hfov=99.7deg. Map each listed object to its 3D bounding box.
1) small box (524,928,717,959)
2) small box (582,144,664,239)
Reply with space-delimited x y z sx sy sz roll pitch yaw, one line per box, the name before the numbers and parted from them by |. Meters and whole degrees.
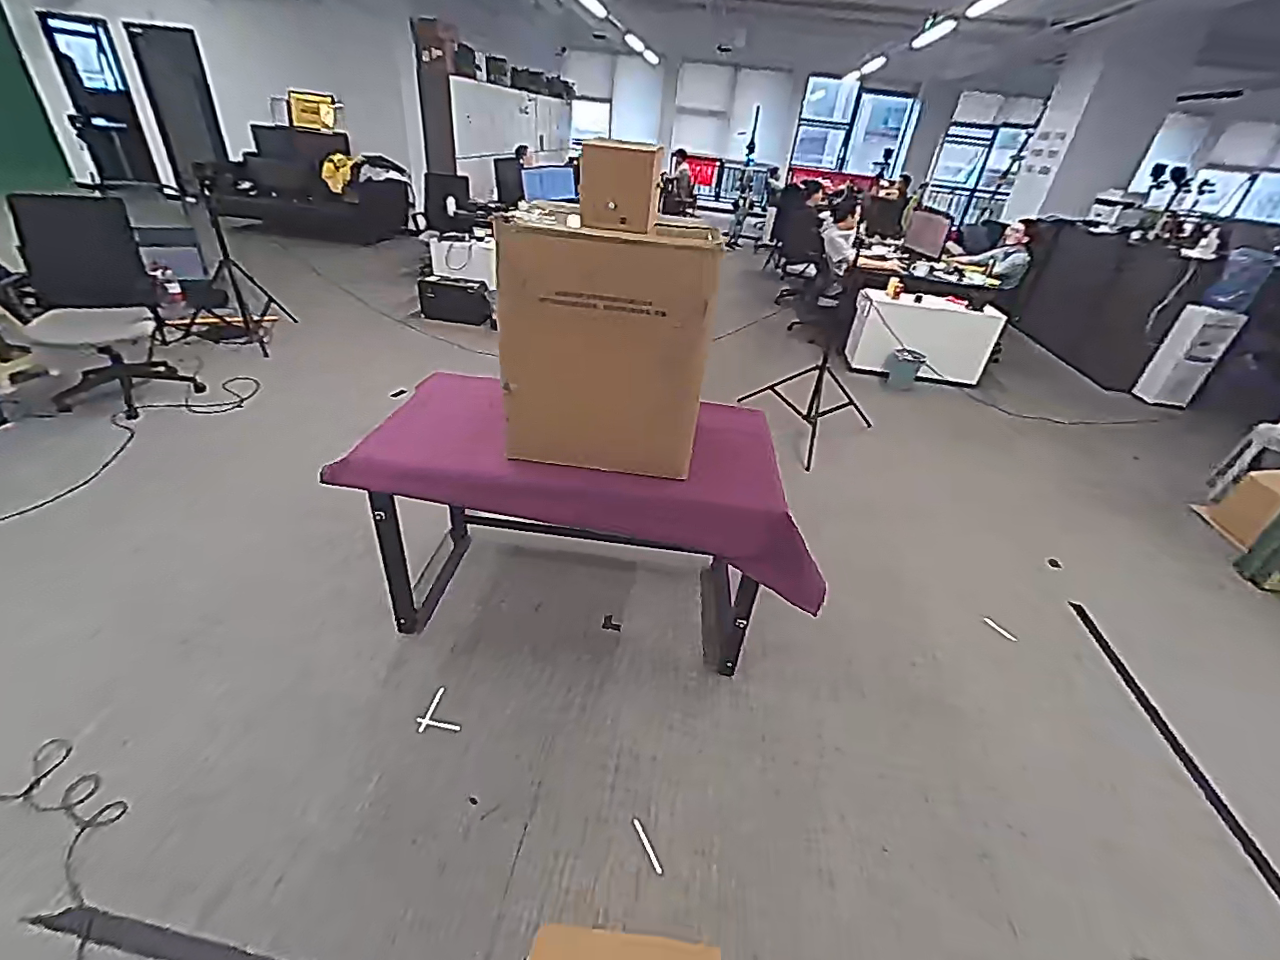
small box | -0.028 0.509 0.426 0.179 0.176 0.168 0 -4 9
small box | -0.041 -0.683 1.277 0.168 0.176 0.179 8 35 4
